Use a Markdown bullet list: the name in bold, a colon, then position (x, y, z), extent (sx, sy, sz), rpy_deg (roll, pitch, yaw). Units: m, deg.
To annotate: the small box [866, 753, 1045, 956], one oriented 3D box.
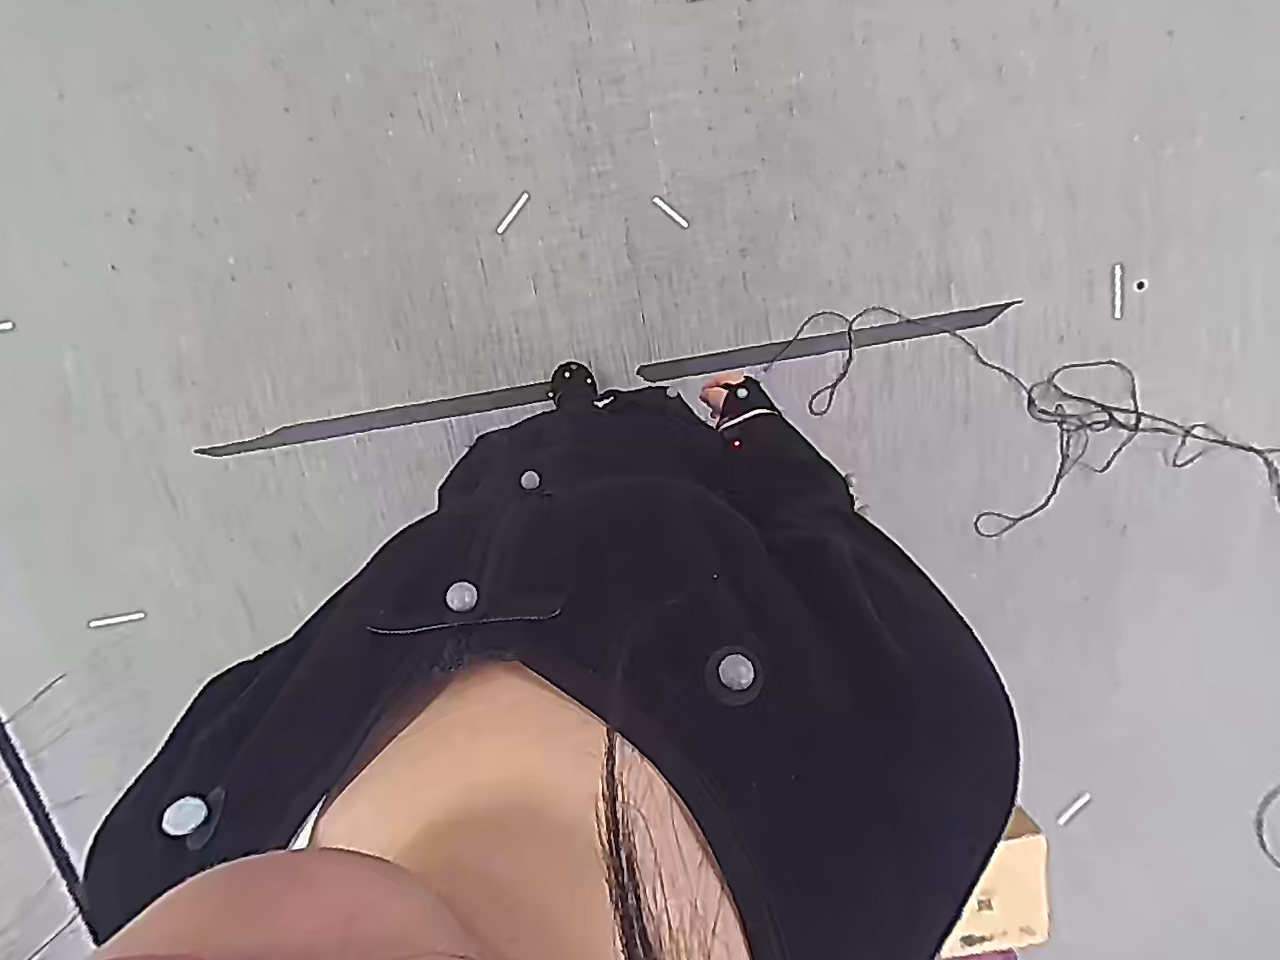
- **small box**: position (0.445, 0.526, 0.787), extent (0.168, 0.176, 0.179), rpy_deg (-9, 101, 0)
